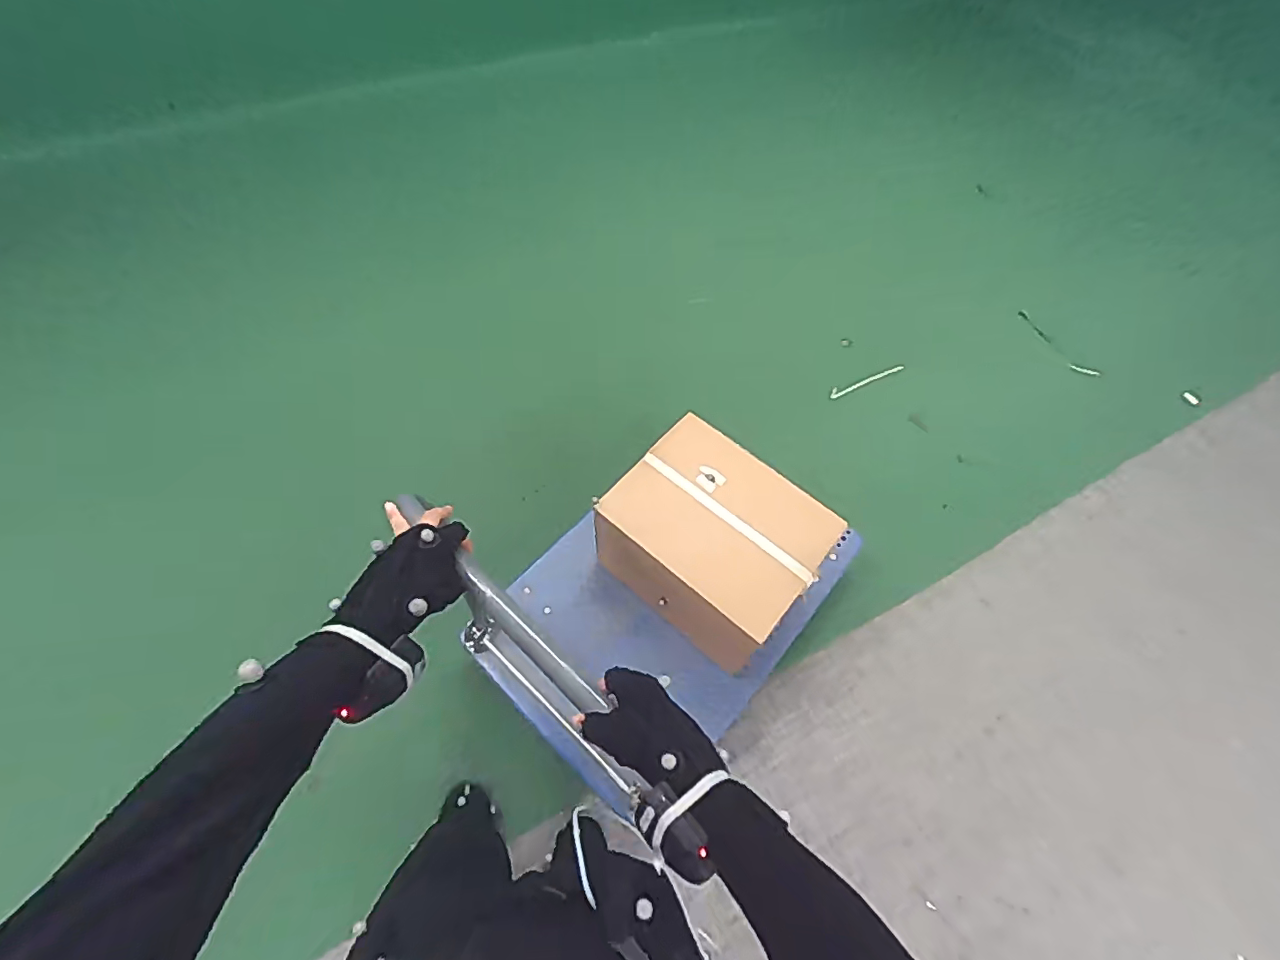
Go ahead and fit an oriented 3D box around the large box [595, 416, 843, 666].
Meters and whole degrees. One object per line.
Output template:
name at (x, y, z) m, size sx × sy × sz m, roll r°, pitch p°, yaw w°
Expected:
large box at (0.155, 0.142, 1.202) m, size 0.408 × 0.320 × 0.320 m, roll 37°, pitch 65°, yaw 17°
